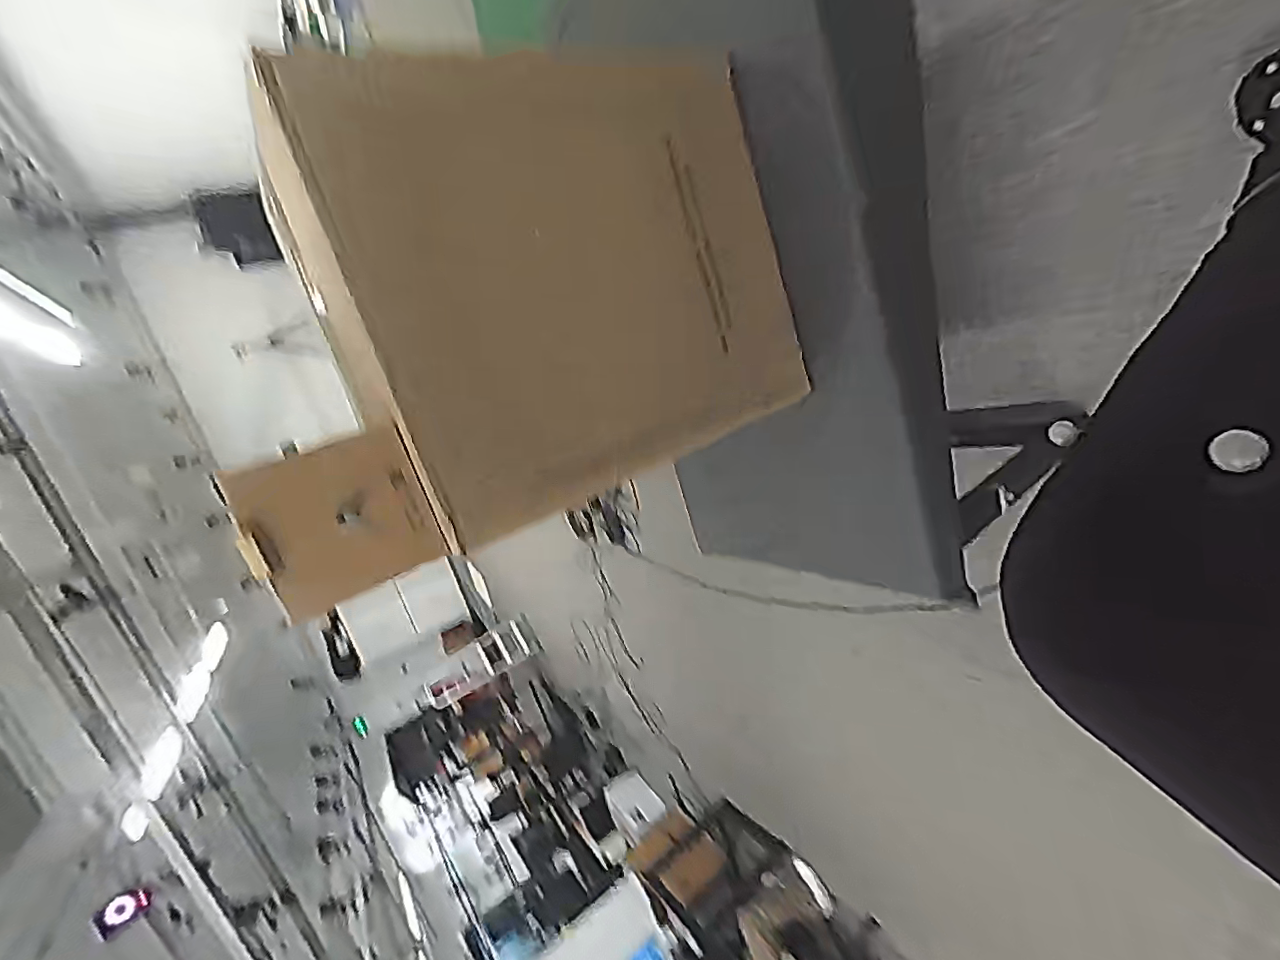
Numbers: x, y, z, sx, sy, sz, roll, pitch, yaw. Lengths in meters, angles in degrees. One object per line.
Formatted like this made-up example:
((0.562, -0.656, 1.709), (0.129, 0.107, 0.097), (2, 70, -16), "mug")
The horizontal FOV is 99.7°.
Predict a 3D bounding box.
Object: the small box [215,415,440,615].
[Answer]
((-0.356, 0.031, 0.633), (0.179, 0.176, 0.168), (0, 112, 55), "small box")
